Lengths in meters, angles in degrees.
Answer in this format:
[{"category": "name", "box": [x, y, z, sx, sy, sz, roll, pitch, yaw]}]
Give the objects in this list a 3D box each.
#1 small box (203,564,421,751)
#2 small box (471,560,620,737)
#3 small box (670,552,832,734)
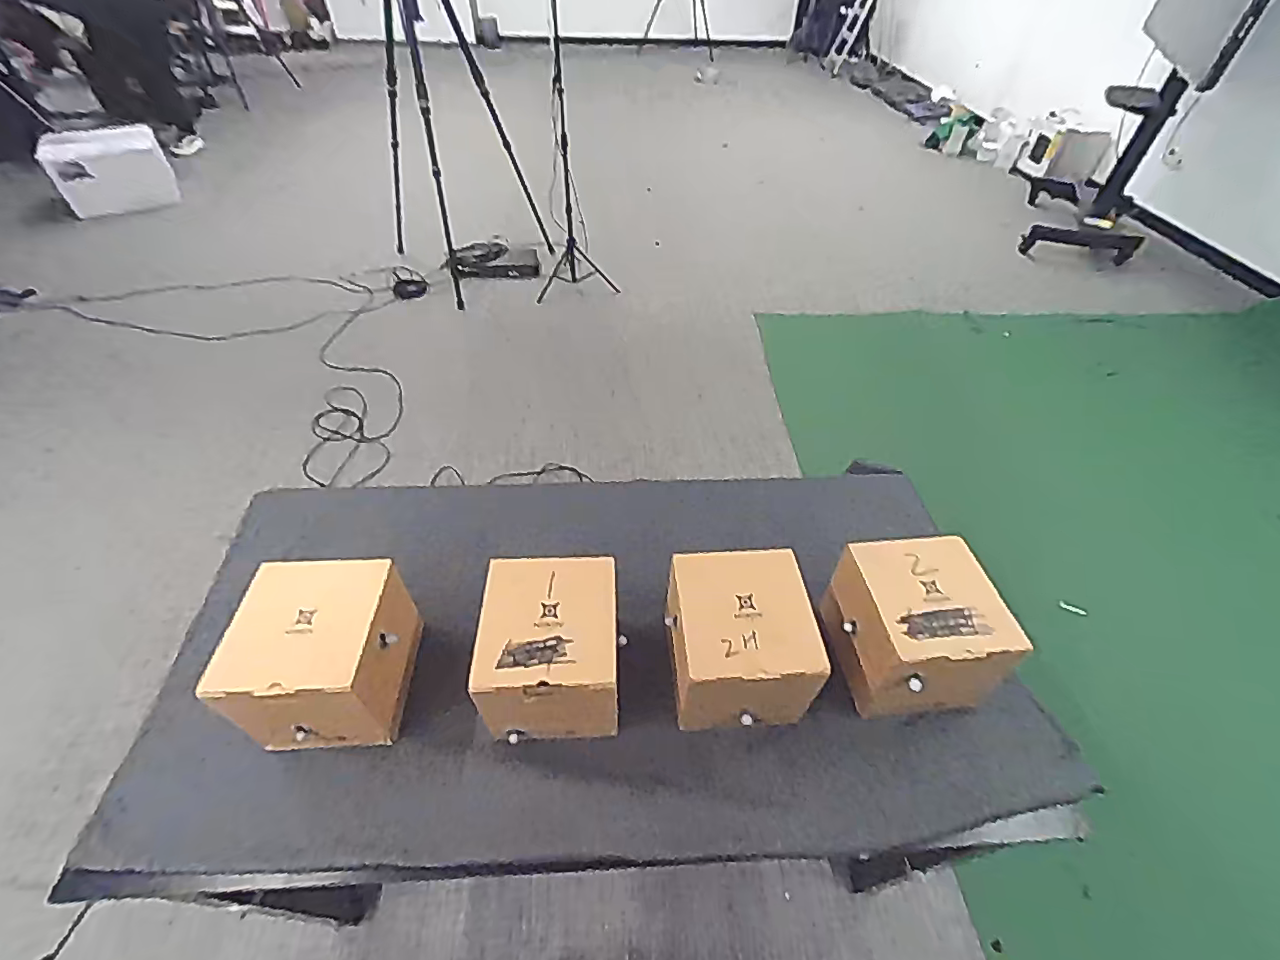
[{"category": "small box", "box": [-0.398, 0.228, 0.700, 0.168, 0.176, 0.179, -1, 46, -4]}, {"category": "small box", "box": [-0.110, 0.226, 0.712, 0.168, 0.176, 0.179, 0, 46, -3]}, {"category": "small box", "box": [0.132, 0.218, 0.727, 0.168, 0.176, 0.179, -3, 47, -3]}]
